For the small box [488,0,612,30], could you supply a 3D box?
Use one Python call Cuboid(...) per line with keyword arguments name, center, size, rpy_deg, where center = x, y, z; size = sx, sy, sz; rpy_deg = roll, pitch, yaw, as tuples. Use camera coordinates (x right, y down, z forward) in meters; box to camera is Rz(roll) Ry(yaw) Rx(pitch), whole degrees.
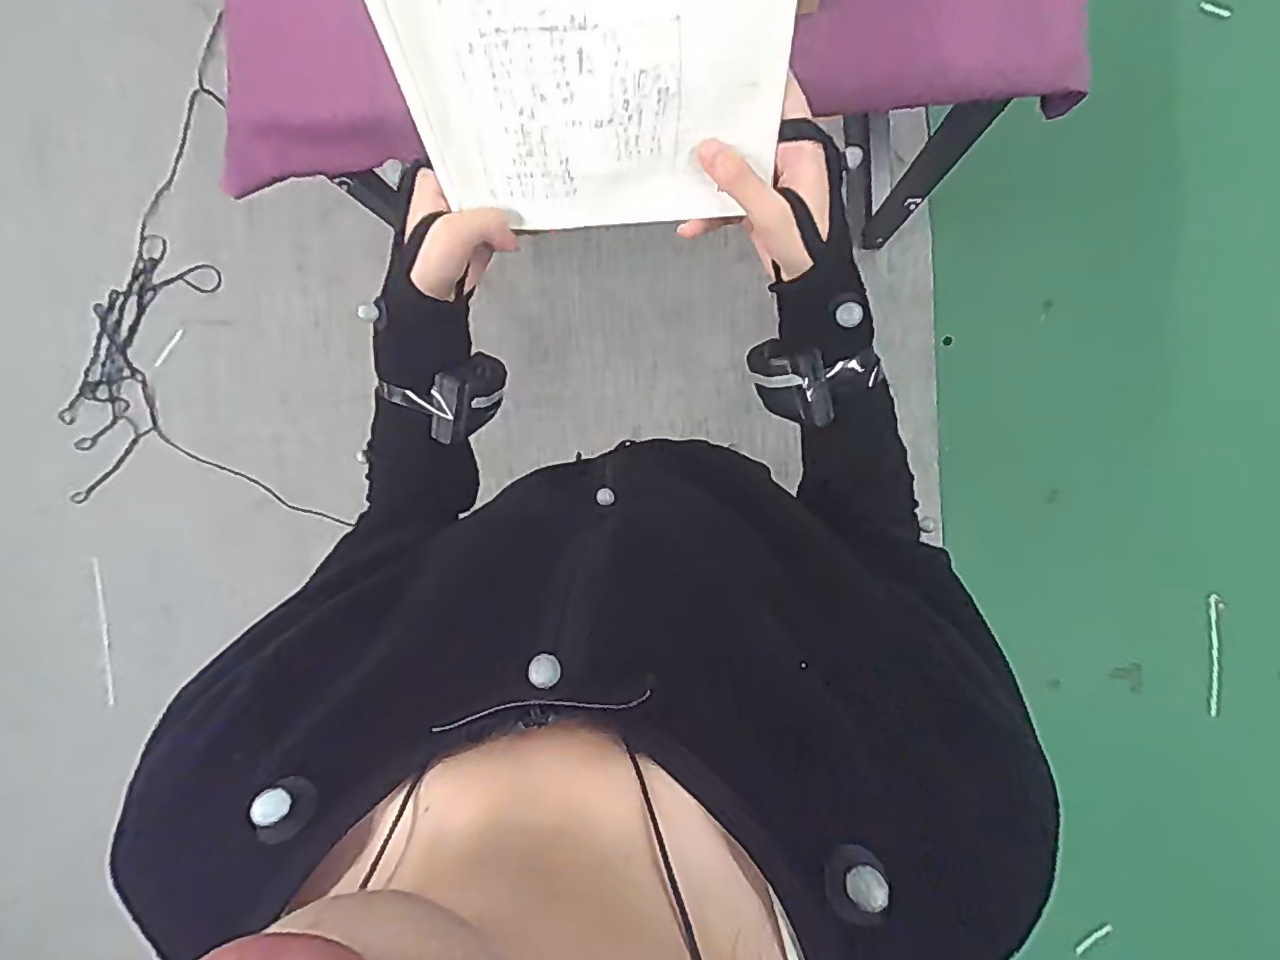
Cuboid(name="small box", center=(-0.128, -0.718, 0.687), size=(0.168, 0.176, 0.179), rpy_deg=(-1, 93, 5))
